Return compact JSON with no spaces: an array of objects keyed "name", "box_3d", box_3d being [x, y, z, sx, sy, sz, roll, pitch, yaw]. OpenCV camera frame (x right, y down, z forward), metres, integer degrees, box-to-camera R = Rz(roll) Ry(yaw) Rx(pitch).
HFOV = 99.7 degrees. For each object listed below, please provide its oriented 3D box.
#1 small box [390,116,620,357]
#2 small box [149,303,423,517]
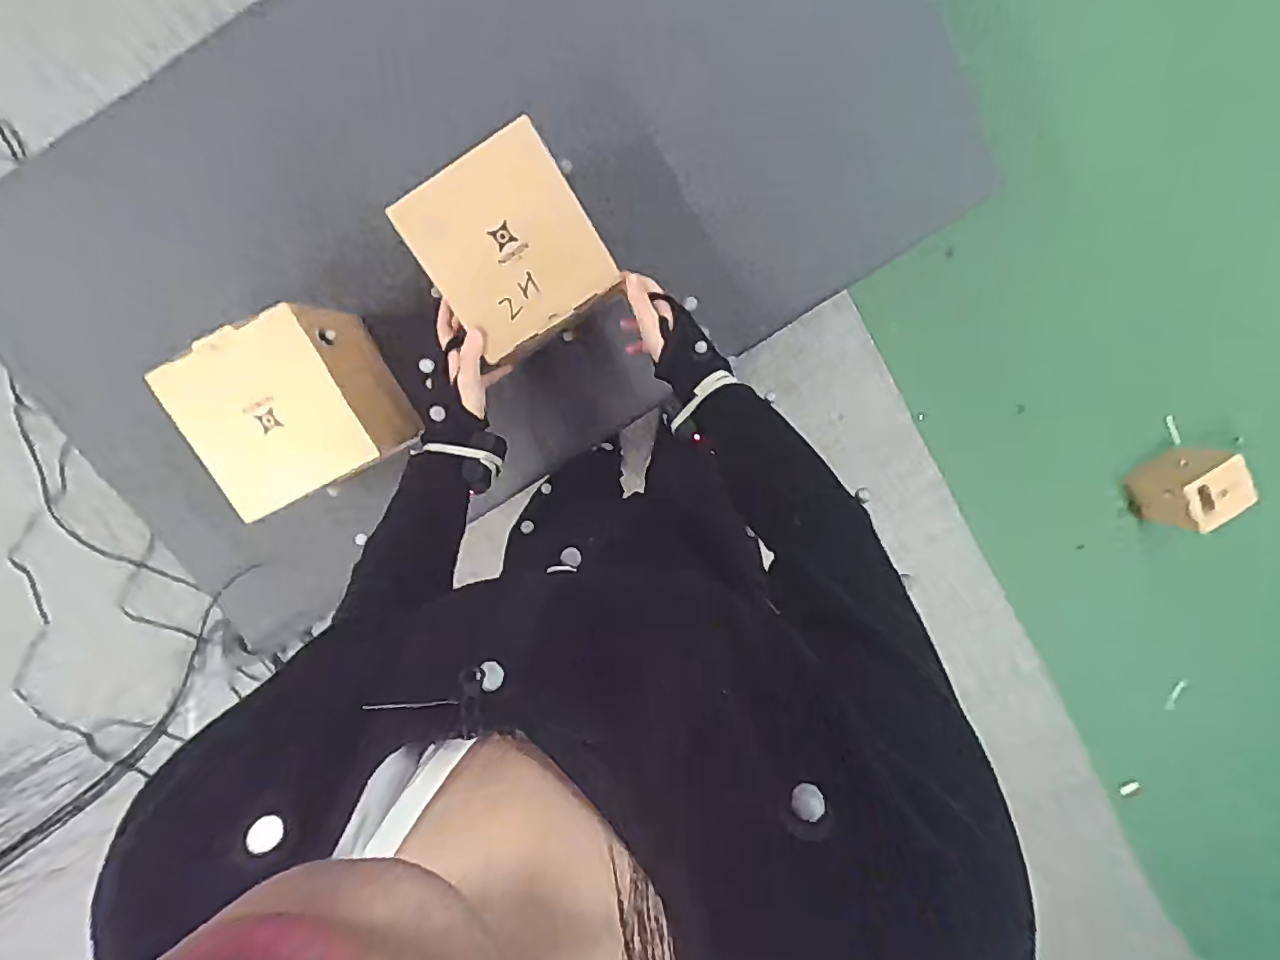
[{"name":"small box","box_3d":[-0.138,-0.253,0.615,0.168,0.176,0.179,-31,102,4]},{"name":"small box","box_3d":[-0.388,-0.086,0.635,0.168,0.176,0.179,-27,102,2]}]
